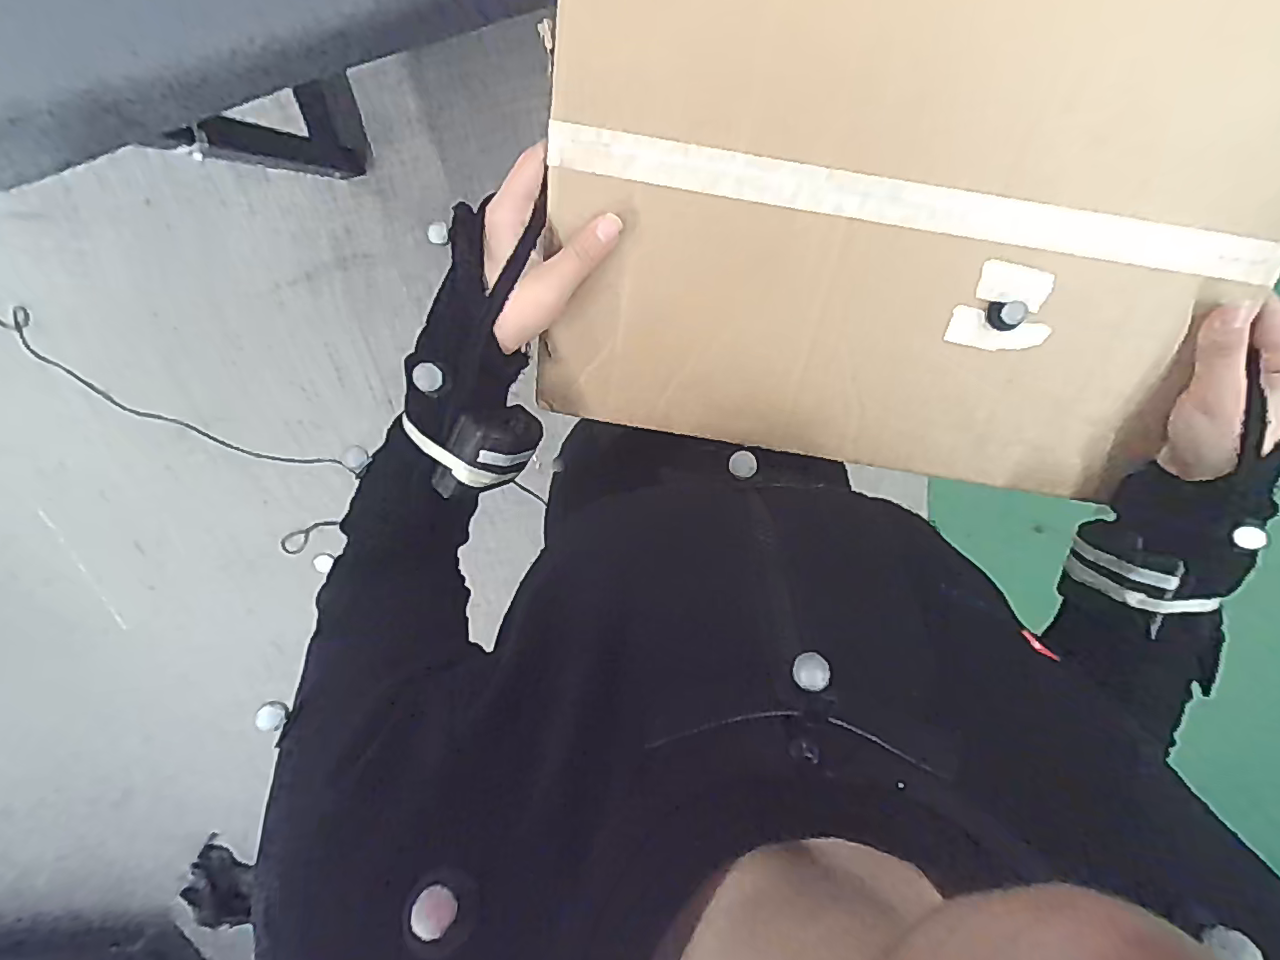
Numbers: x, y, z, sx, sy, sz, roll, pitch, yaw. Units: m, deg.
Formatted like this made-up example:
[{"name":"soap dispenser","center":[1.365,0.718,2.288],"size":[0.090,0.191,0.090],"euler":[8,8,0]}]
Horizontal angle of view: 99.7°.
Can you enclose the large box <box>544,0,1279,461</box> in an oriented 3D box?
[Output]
[{"name":"large box","center":[0.154,-0.238,0.422],"size":[0.408,0.320,0.320],"euler":[8,119,-1]}]
